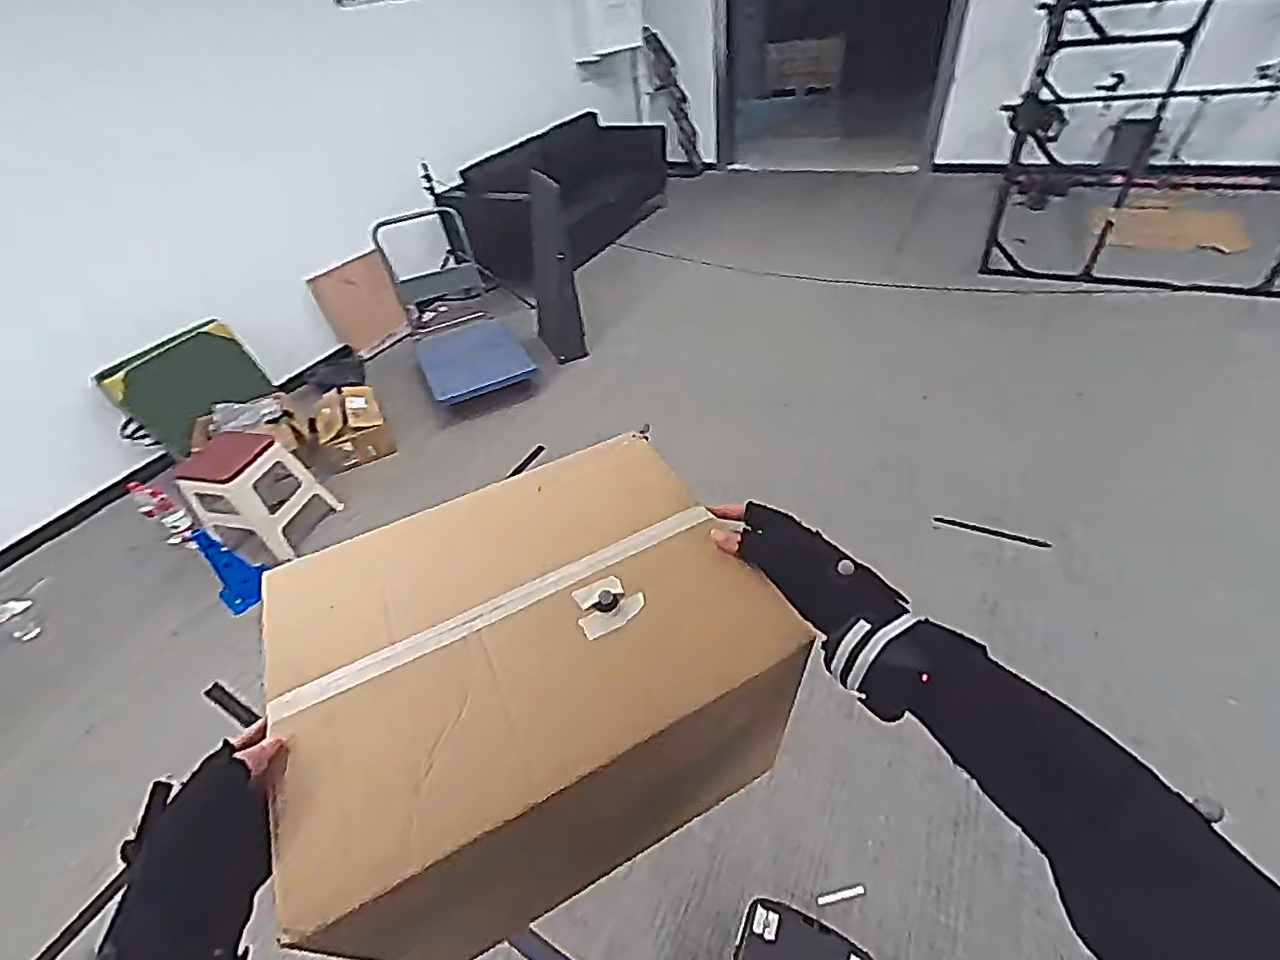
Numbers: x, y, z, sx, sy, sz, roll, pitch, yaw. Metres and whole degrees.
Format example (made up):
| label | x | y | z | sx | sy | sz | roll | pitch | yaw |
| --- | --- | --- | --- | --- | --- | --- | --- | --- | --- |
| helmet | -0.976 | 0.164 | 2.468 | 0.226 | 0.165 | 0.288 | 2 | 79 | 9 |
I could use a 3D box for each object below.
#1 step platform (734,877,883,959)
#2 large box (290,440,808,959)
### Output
| label | x | y | z | sx | sy | sz | roll | pitch | yaw |
| --- | --- | --- | --- | --- | --- | --- | --- | --- | --- |
| step platform | 0.264 | 1.190 | 1.038 | 0.286 | 0.204 | 0.684 | 13 | 46 | 23 |
| large box | -0.091 | 0.220 | 0.595 | 0.408 | 0.320 | 0.320 | -23 | 48 | -18 |
